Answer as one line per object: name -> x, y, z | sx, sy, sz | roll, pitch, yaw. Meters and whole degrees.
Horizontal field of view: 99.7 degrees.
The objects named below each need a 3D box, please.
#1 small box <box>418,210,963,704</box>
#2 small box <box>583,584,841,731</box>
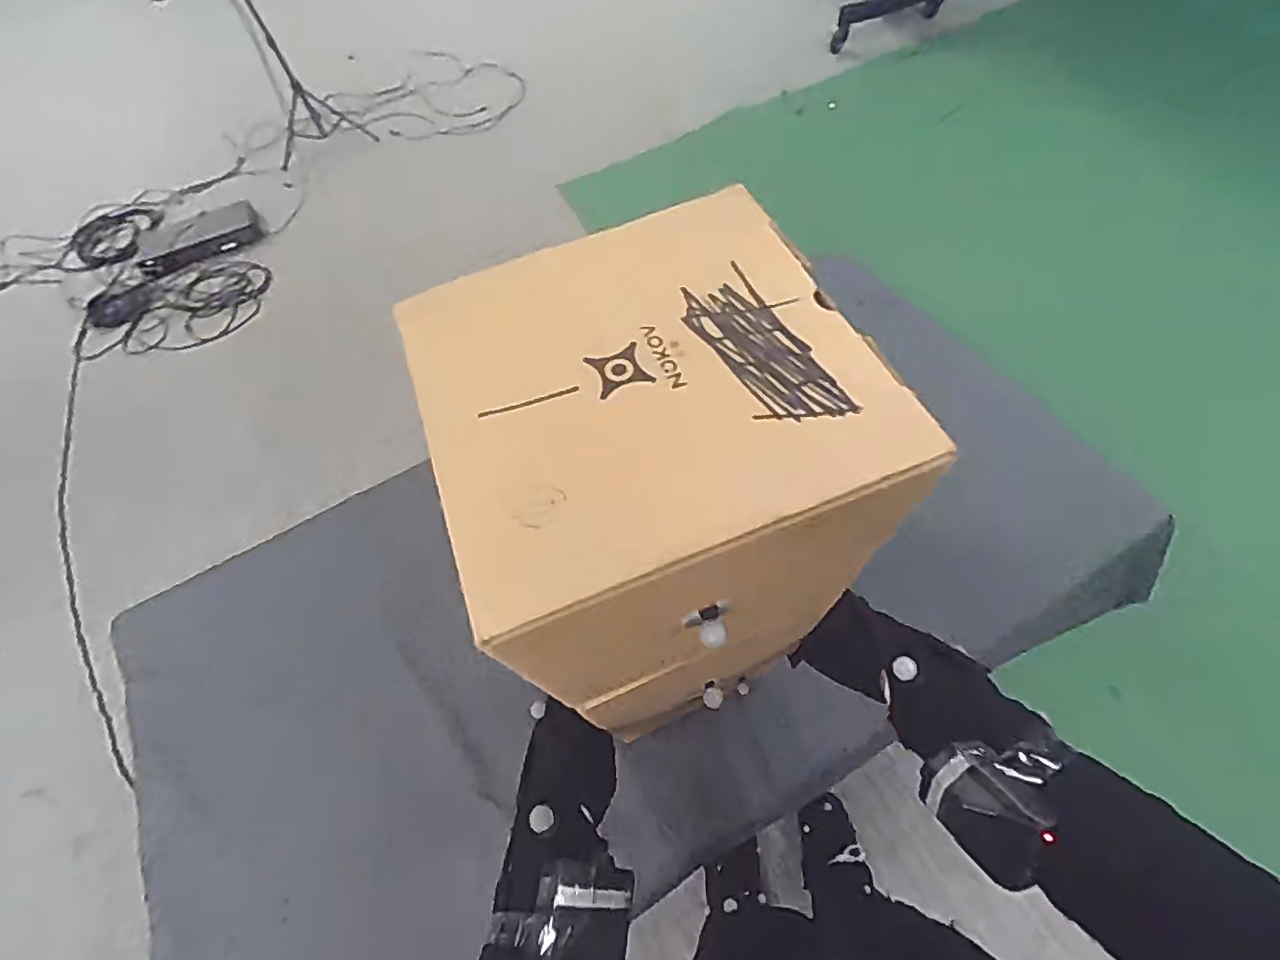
small box -> 0.013, -0.001, 0.290 | 0.179, 0.176, 0.168 | -23, 62, -10
small box -> 0.022, 0.079, 0.432 | 0.179, 0.176, 0.168 | -21, 60, -9
